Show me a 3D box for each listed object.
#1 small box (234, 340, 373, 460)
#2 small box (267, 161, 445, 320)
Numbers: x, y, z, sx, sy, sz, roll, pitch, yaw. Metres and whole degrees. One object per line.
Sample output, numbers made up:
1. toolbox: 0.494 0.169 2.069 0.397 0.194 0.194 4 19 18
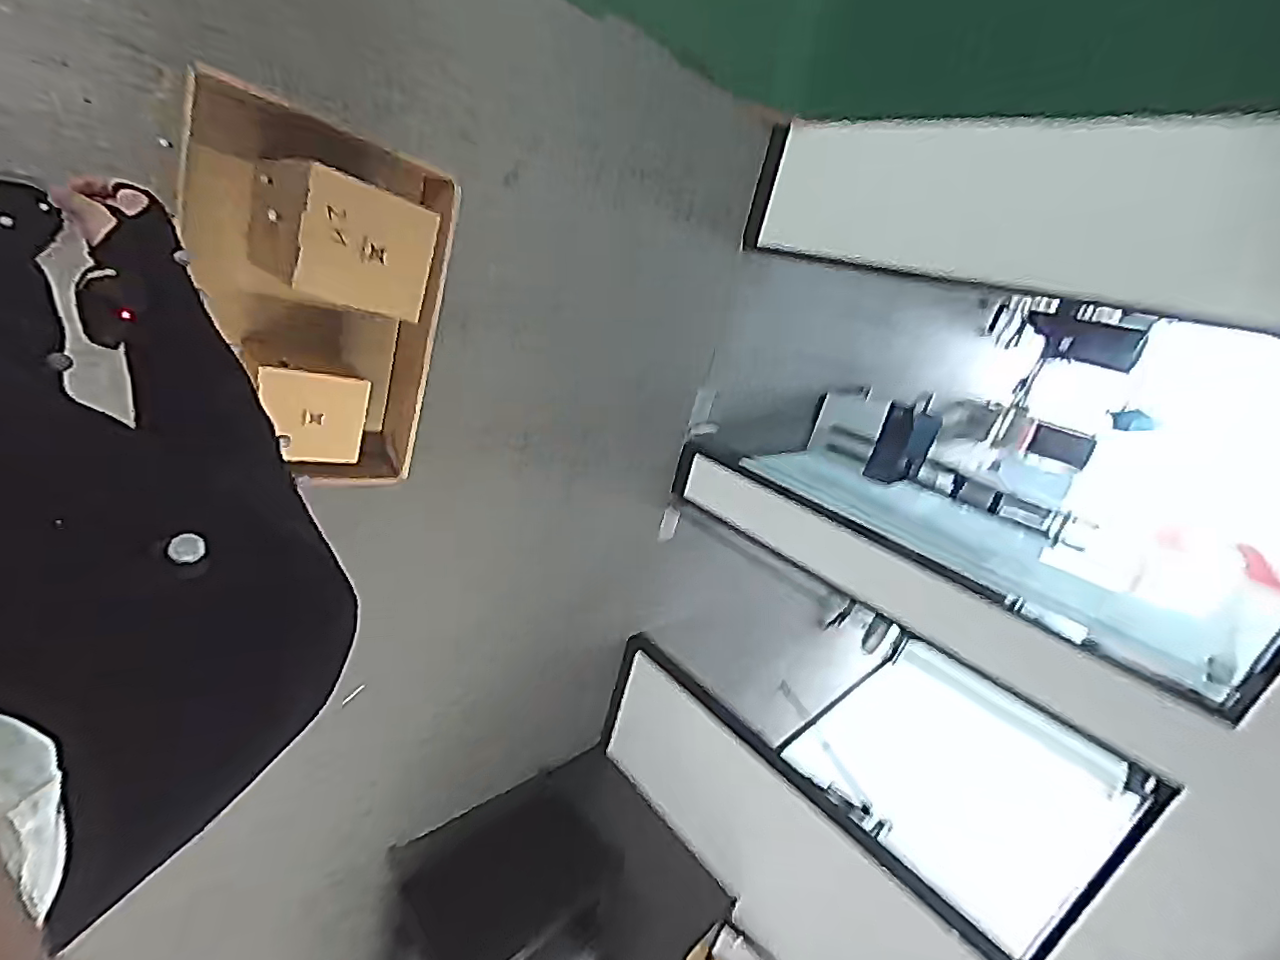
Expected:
1. small box: -0.629 -0.149 1.008 0.179 0.176 0.168 2 114 -46
2. small box: -0.429 -0.360 0.813 0.179 0.176 0.168 4 111 -47
